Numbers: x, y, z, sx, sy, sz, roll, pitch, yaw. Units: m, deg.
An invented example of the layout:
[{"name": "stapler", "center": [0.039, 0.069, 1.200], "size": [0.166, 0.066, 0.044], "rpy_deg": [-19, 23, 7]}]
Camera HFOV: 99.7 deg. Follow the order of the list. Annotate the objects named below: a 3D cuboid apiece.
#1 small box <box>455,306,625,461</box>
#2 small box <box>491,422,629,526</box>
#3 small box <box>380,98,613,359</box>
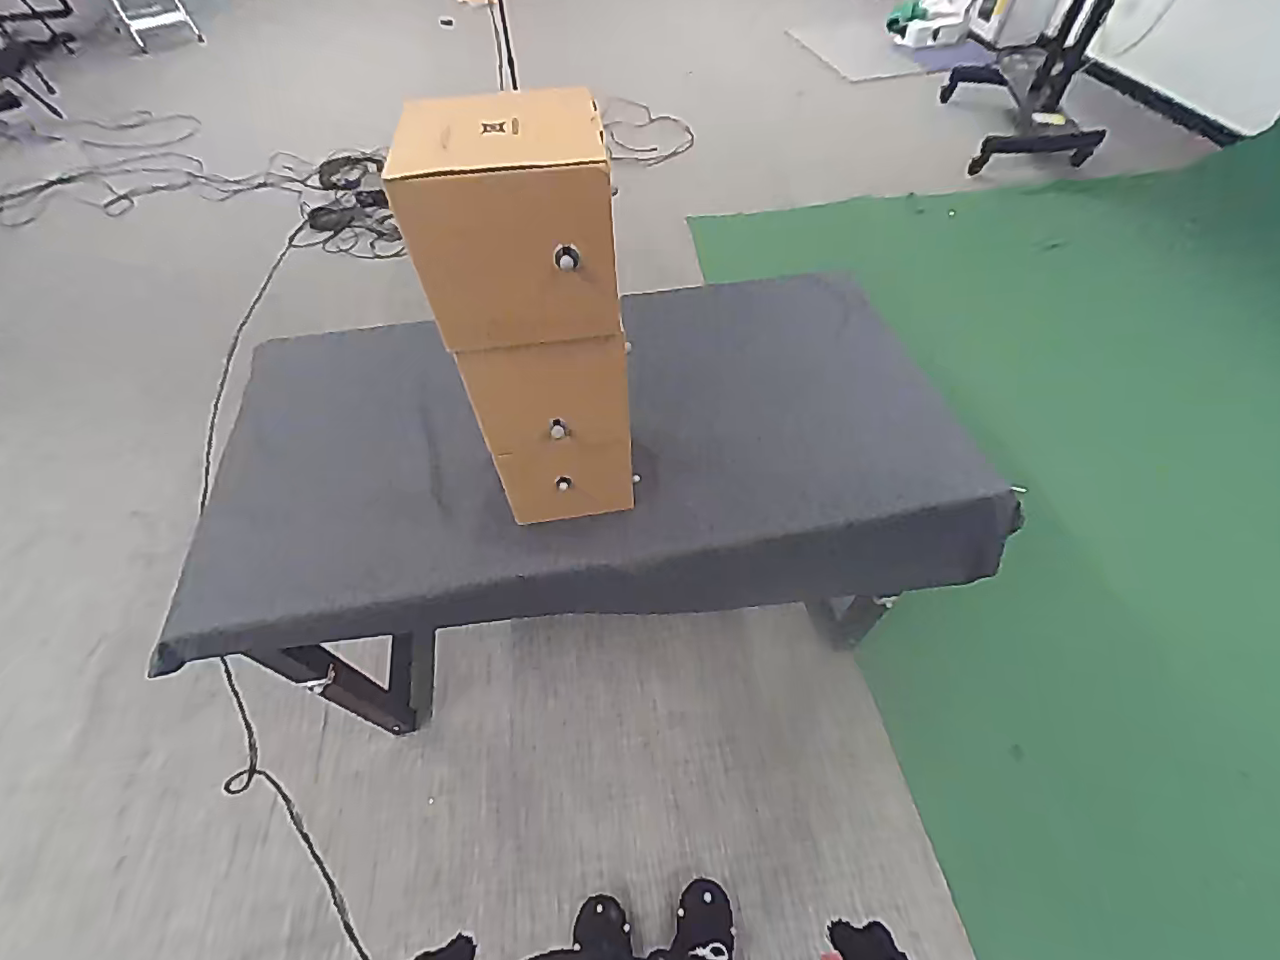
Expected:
[{"name": "small box", "center": [-0.115, -0.144, 0.663], "size": [0.179, 0.176, 0.168], "rpy_deg": [-11, 55, -5]}, {"name": "small box", "center": [-0.112, -0.051, 0.793], "size": [0.179, 0.176, 0.168], "rpy_deg": [-9, 53, -4]}, {"name": "small box", "center": [-0.121, -0.241, 0.528], "size": [0.179, 0.176, 0.168], "rpy_deg": [-8, 52, -3]}]
